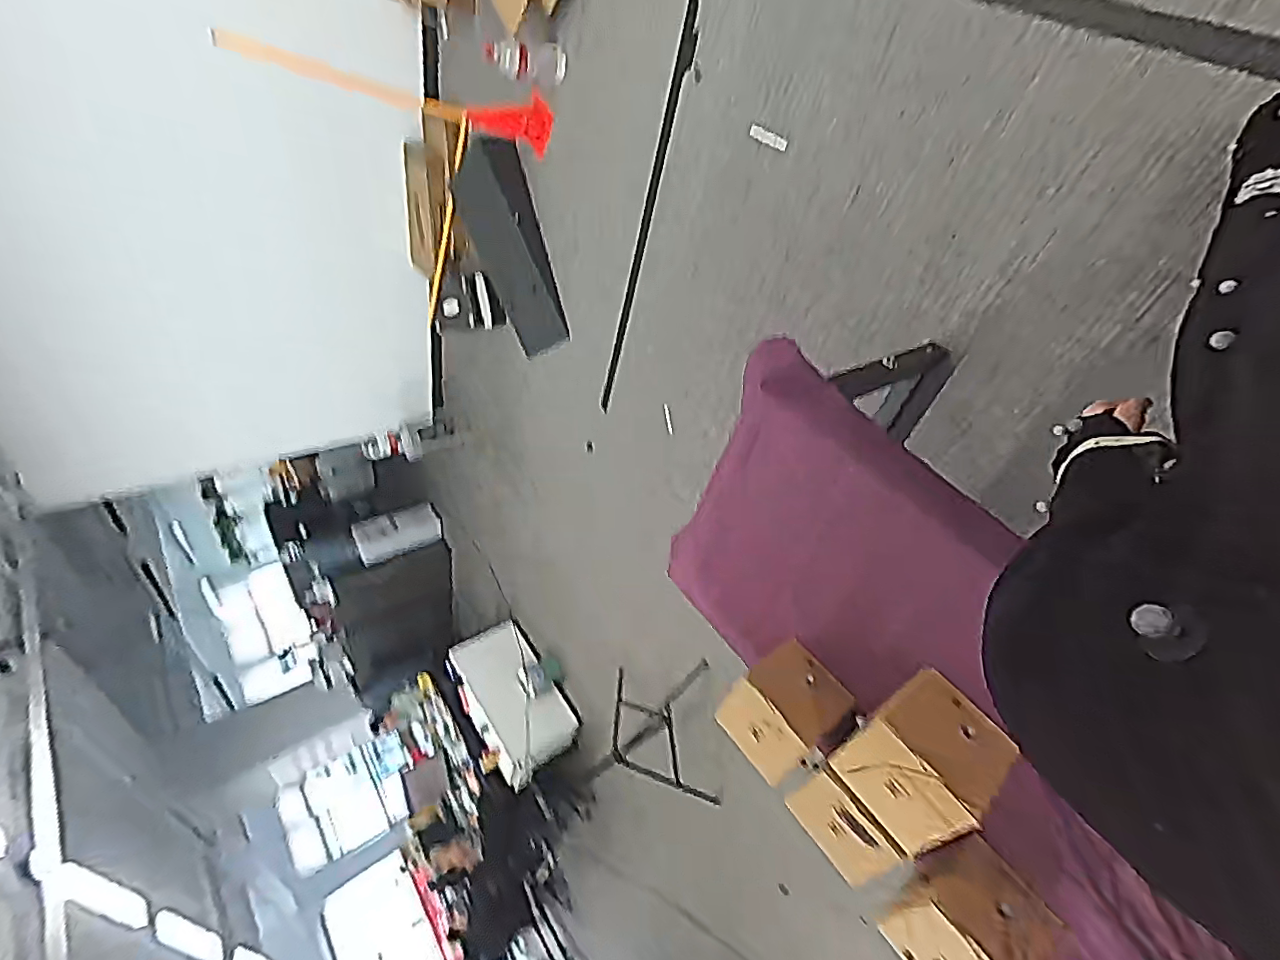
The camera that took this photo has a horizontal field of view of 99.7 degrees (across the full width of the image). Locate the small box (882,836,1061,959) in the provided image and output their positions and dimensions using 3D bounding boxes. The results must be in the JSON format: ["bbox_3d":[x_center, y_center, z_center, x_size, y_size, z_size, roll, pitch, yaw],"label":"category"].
[{"bbox_3d":[0.545,0.732,0.888,0.168,0.176,0.179,46,136,30],"label":"small box"}]
